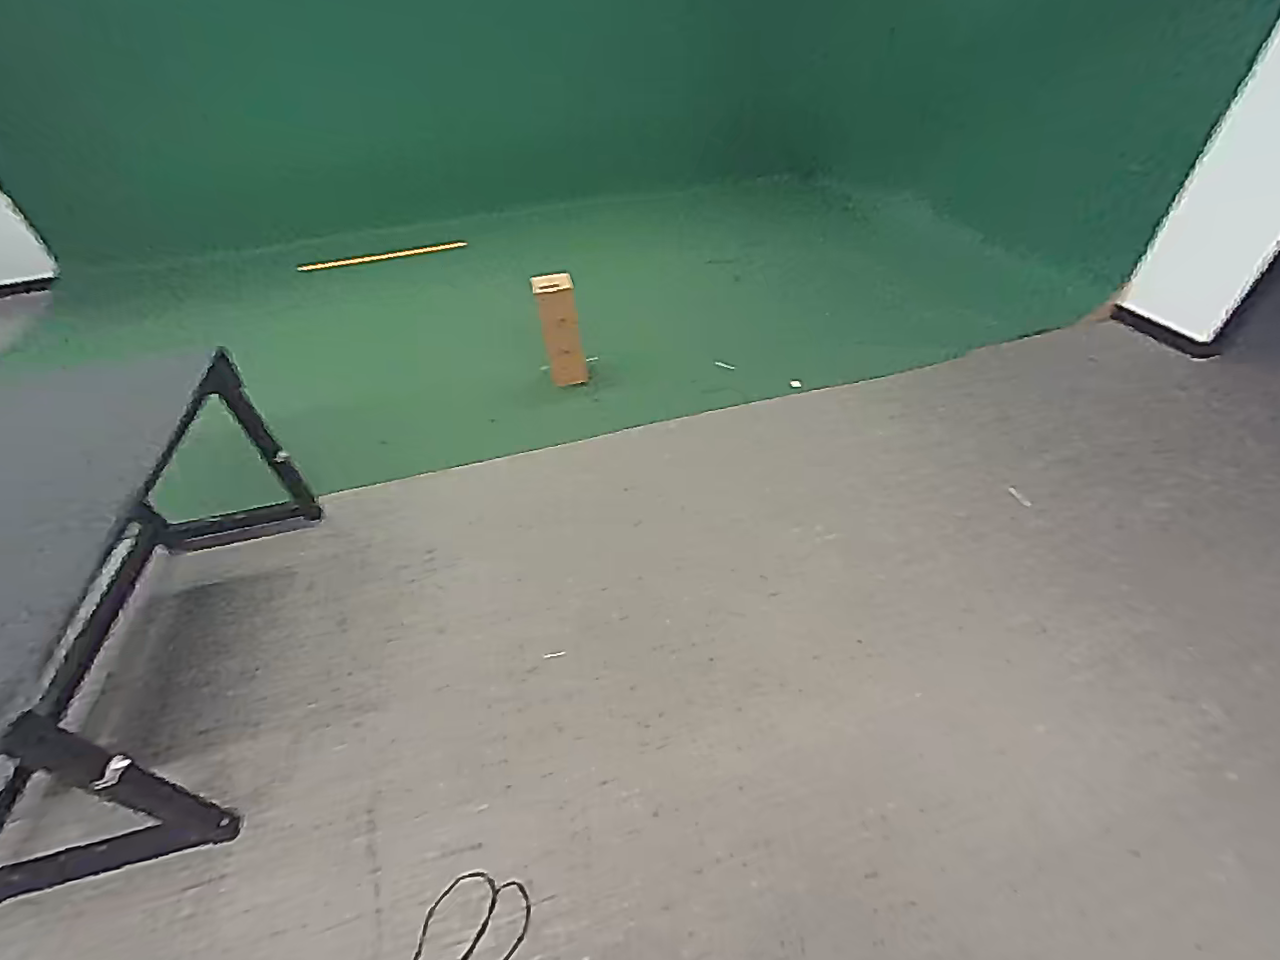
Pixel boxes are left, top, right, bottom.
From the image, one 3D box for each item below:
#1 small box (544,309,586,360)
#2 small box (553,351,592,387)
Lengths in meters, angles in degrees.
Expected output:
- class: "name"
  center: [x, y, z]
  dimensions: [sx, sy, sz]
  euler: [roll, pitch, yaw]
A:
- class: "small box"
  center: [-0.365, -0.705, 2.625]
  dimensions: [0.168, 0.176, 0.179]
  euler: [-12, 44, -5]
- class: "small box"
  center: [-0.347, -0.585, 2.738]
  dimensions: [0.168, 0.176, 0.179]
  euler: [-14, 43, -7]
